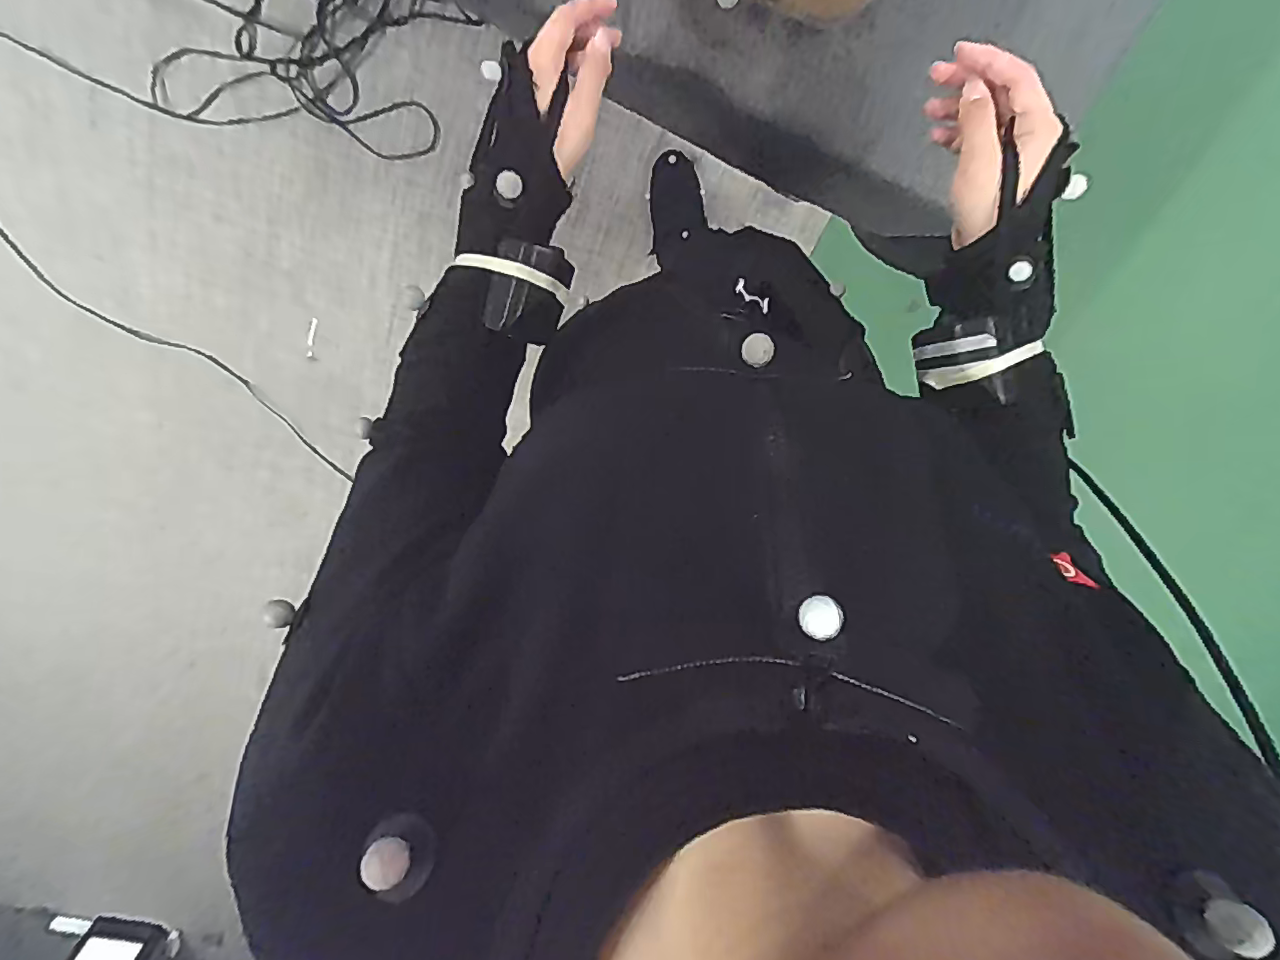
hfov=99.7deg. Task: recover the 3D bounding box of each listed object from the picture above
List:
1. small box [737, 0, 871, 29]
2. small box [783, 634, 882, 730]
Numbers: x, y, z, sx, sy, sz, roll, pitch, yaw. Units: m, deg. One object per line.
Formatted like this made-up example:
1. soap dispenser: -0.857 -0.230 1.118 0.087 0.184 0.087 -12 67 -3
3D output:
1. small box: 0.103 -0.417 0.320 0.168 0.176 0.179 13 117 -7
2. small box: 0.519 0.551 1.489 0.179 0.176 0.168 17 116 -10
